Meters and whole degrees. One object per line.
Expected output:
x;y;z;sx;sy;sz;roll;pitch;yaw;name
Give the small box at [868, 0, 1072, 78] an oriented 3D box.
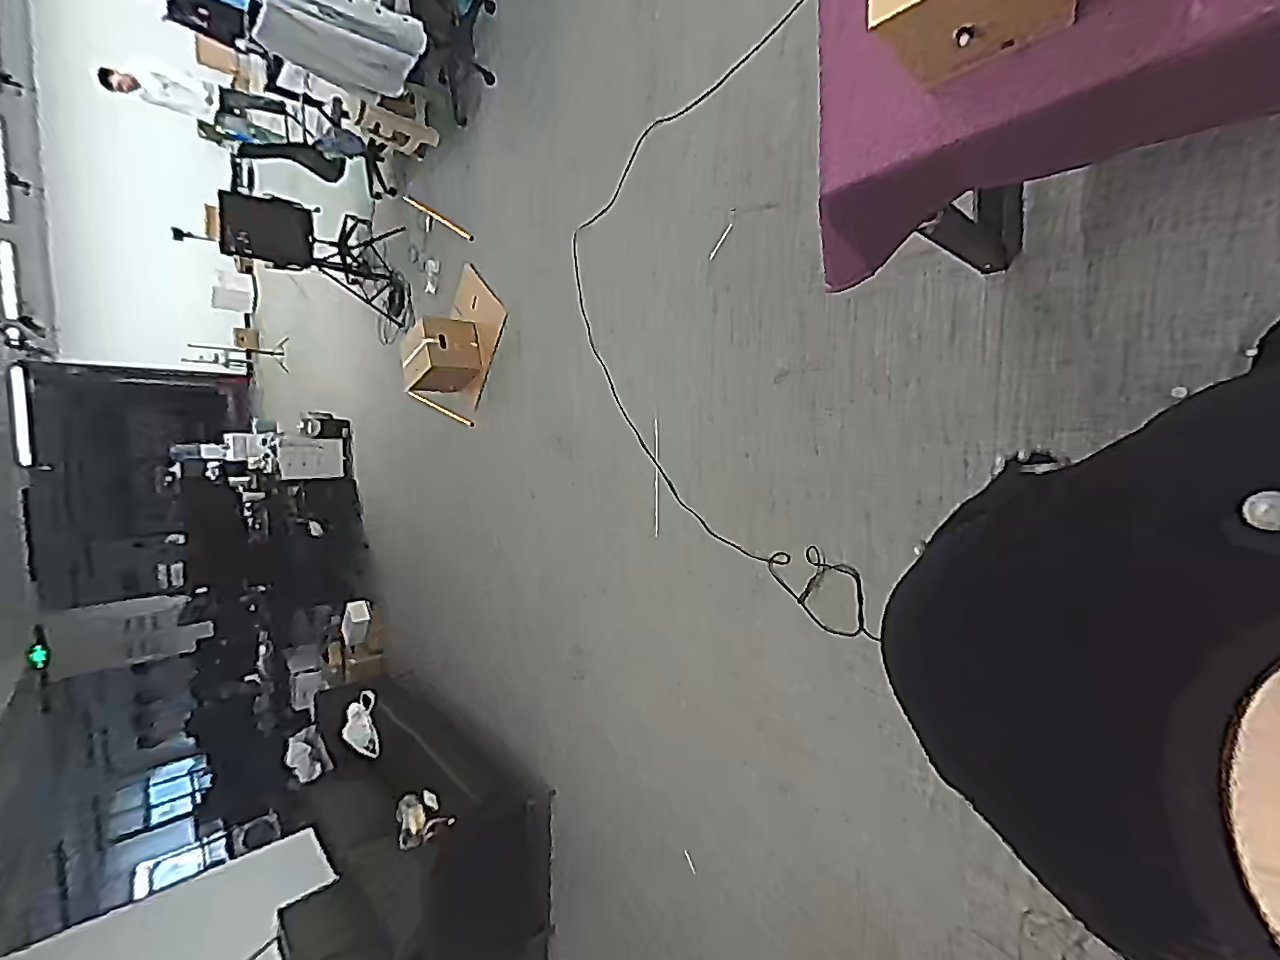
0.380;-0.603;0.616;0.168;0.176;0.179;6;97;47;small box
